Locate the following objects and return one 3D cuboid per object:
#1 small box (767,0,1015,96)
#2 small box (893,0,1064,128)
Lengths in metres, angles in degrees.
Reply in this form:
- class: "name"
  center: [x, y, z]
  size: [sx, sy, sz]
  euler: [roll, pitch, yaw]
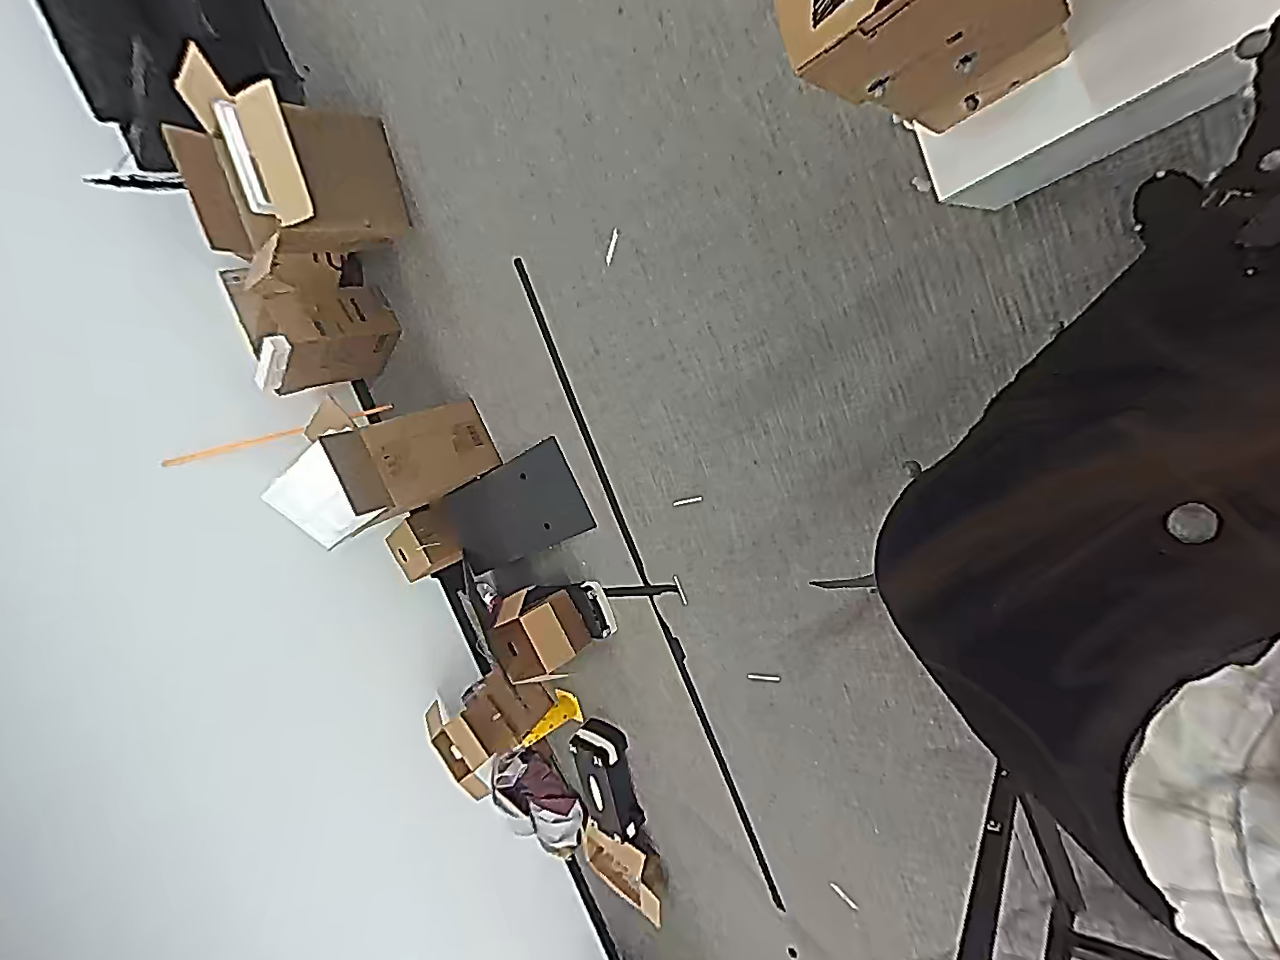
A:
- class: "small box"
  center: [0.218, -0.479, 0.479]
  size: [0.168, 0.176, 0.179]
  euler: [-11, 101, 44]
- class: "small box"
  center: [0.429, -0.593, 0.705]
  size: [0.168, 0.176, 0.179]
  euler: [-15, 98, 44]
